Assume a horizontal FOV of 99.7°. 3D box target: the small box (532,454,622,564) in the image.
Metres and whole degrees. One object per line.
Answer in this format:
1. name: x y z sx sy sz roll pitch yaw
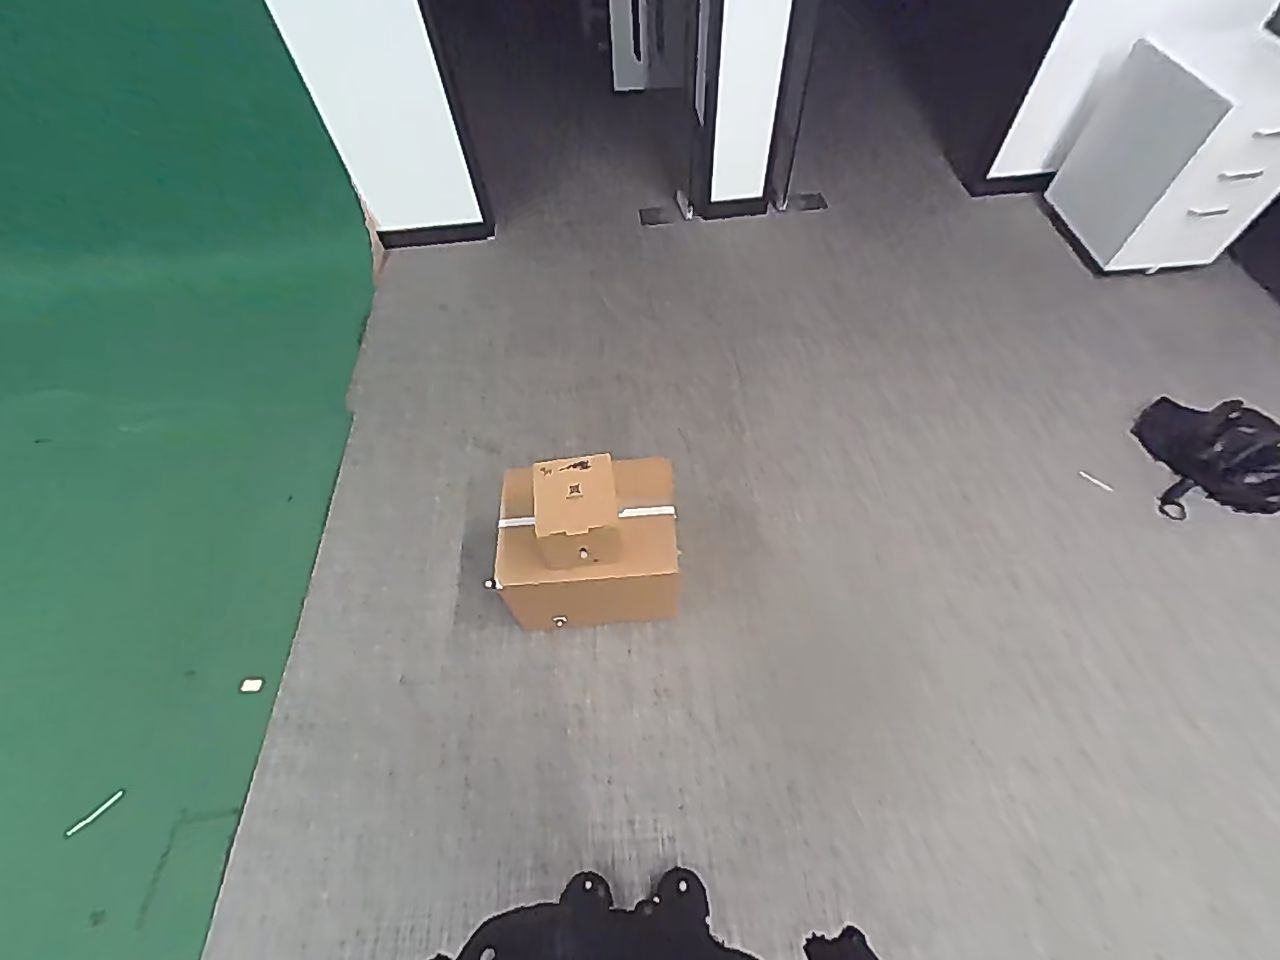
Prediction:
1. small box: -0.132 0.070 1.161 0.168 0.176 0.179 -7 59 -2
